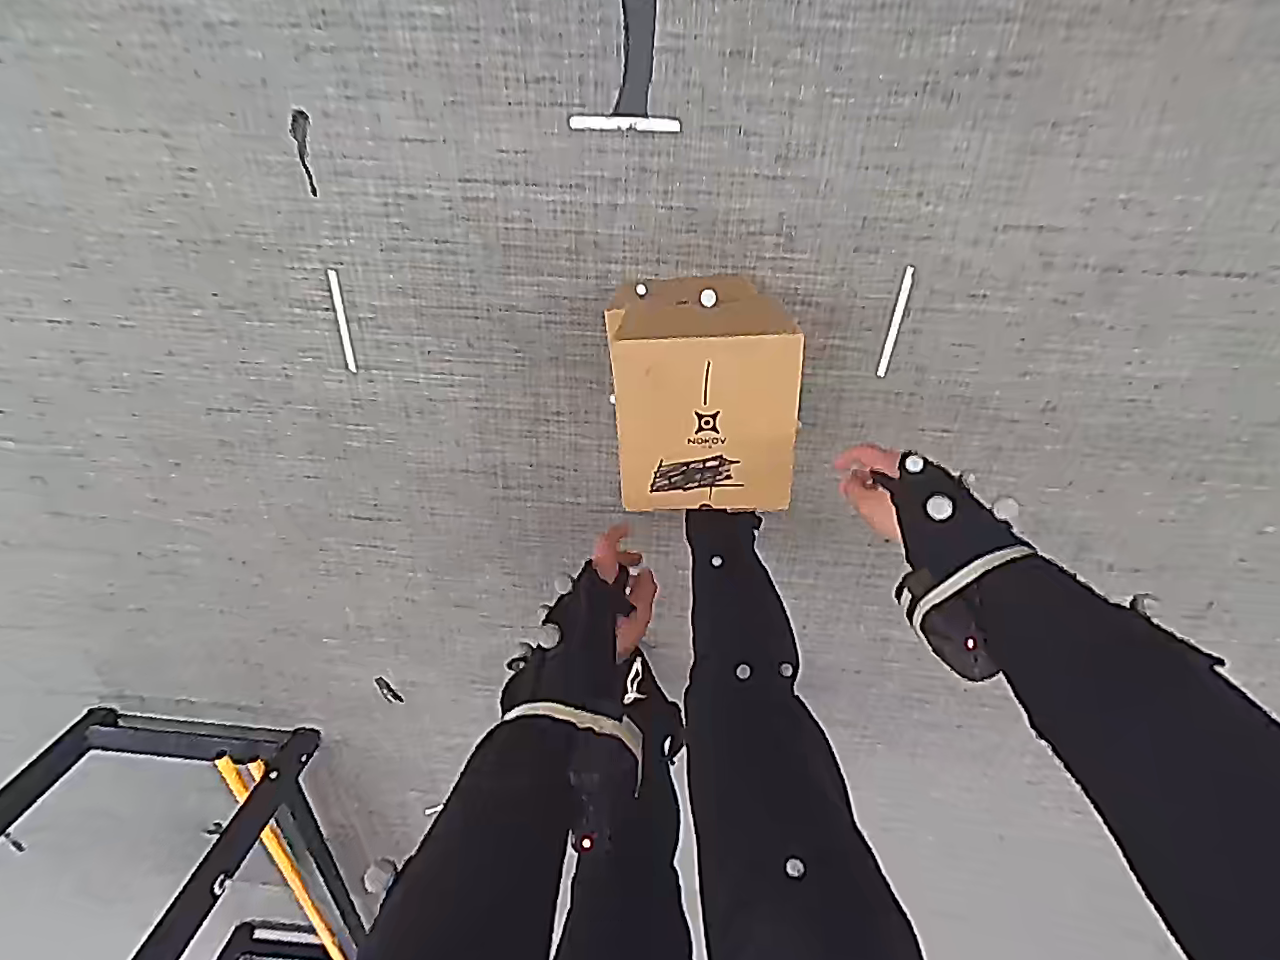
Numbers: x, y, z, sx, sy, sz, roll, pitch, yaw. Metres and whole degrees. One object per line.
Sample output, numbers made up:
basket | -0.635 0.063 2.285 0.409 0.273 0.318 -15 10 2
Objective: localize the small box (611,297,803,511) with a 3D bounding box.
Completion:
small box | 0.065 -0.084 0.567 0.168 0.176 0.179 -1 119 5
